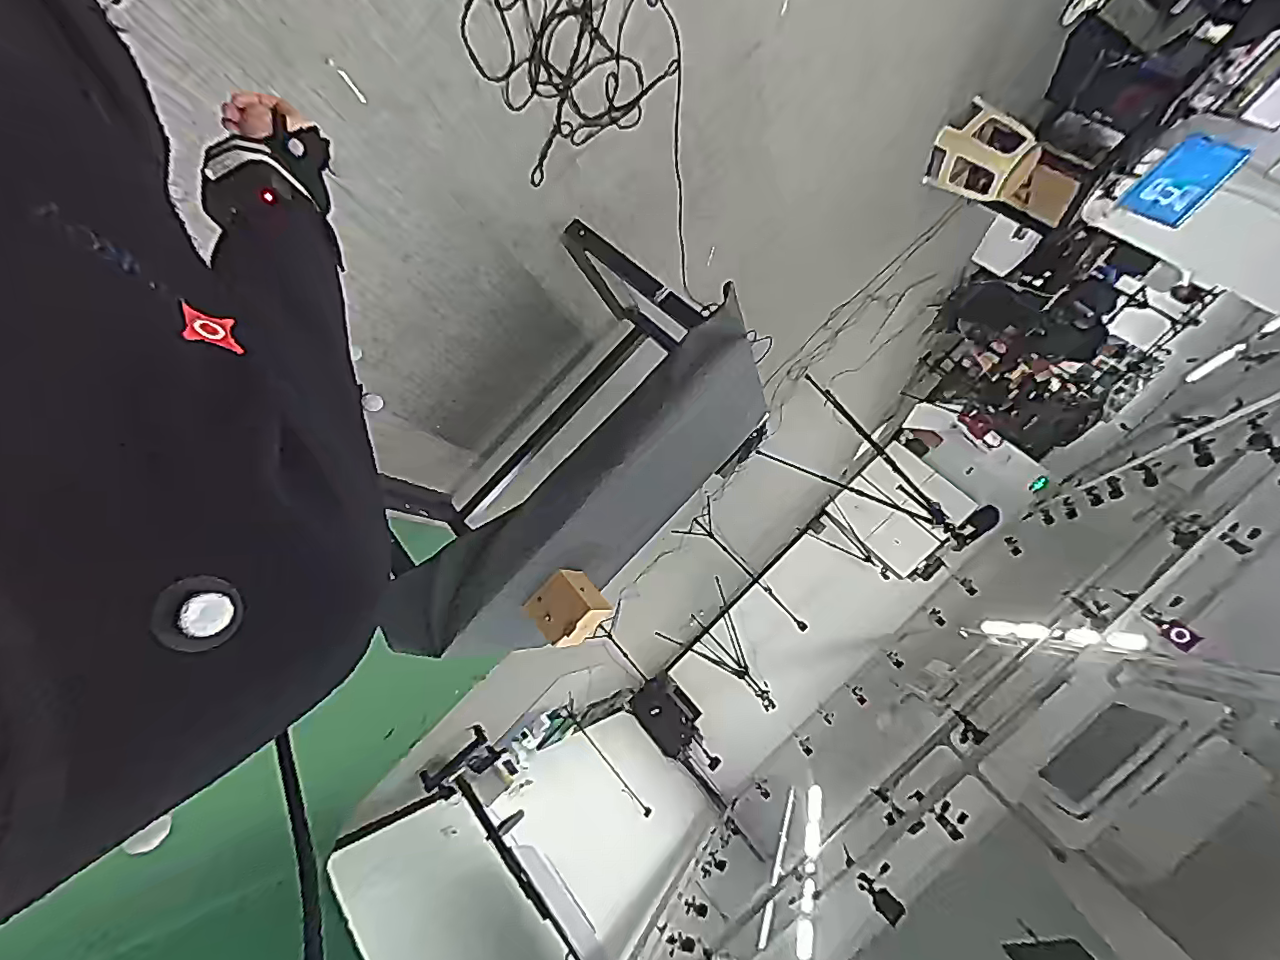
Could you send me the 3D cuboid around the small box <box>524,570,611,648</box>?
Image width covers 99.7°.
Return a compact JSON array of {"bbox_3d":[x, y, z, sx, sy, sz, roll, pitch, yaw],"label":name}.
[{"bbox_3d":[-0.226,0.393,1.674,0.168,0.176,0.179,-46,159,5],"label":"small box"}]
